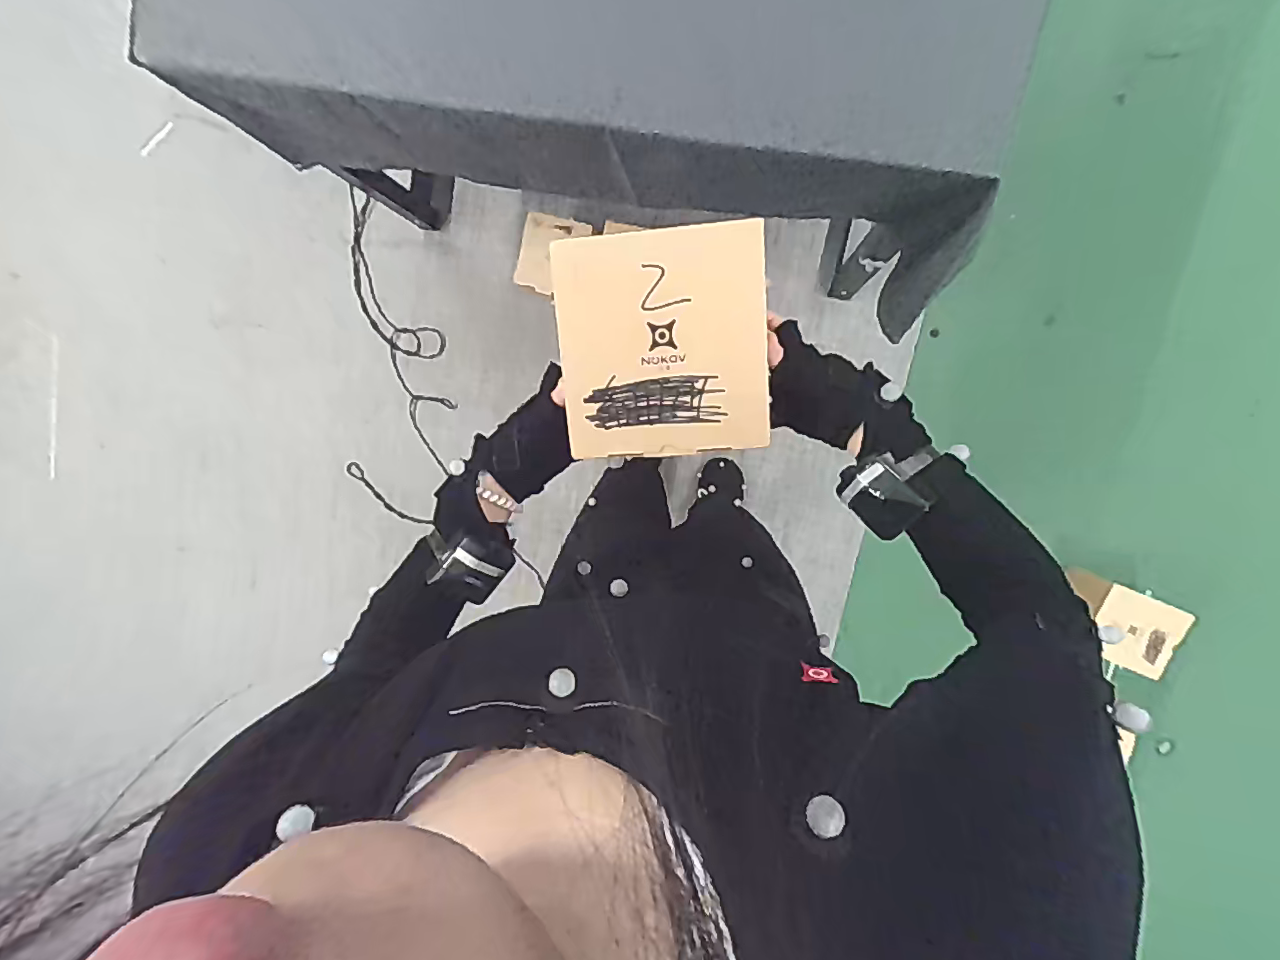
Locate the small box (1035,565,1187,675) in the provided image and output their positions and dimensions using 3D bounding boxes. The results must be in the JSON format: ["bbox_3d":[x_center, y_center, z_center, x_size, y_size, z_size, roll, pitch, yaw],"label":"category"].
[{"bbox_3d":[1.091,0.317,1.269,0.179,0.176,0.168,23,98,6],"label":"small box"}]
